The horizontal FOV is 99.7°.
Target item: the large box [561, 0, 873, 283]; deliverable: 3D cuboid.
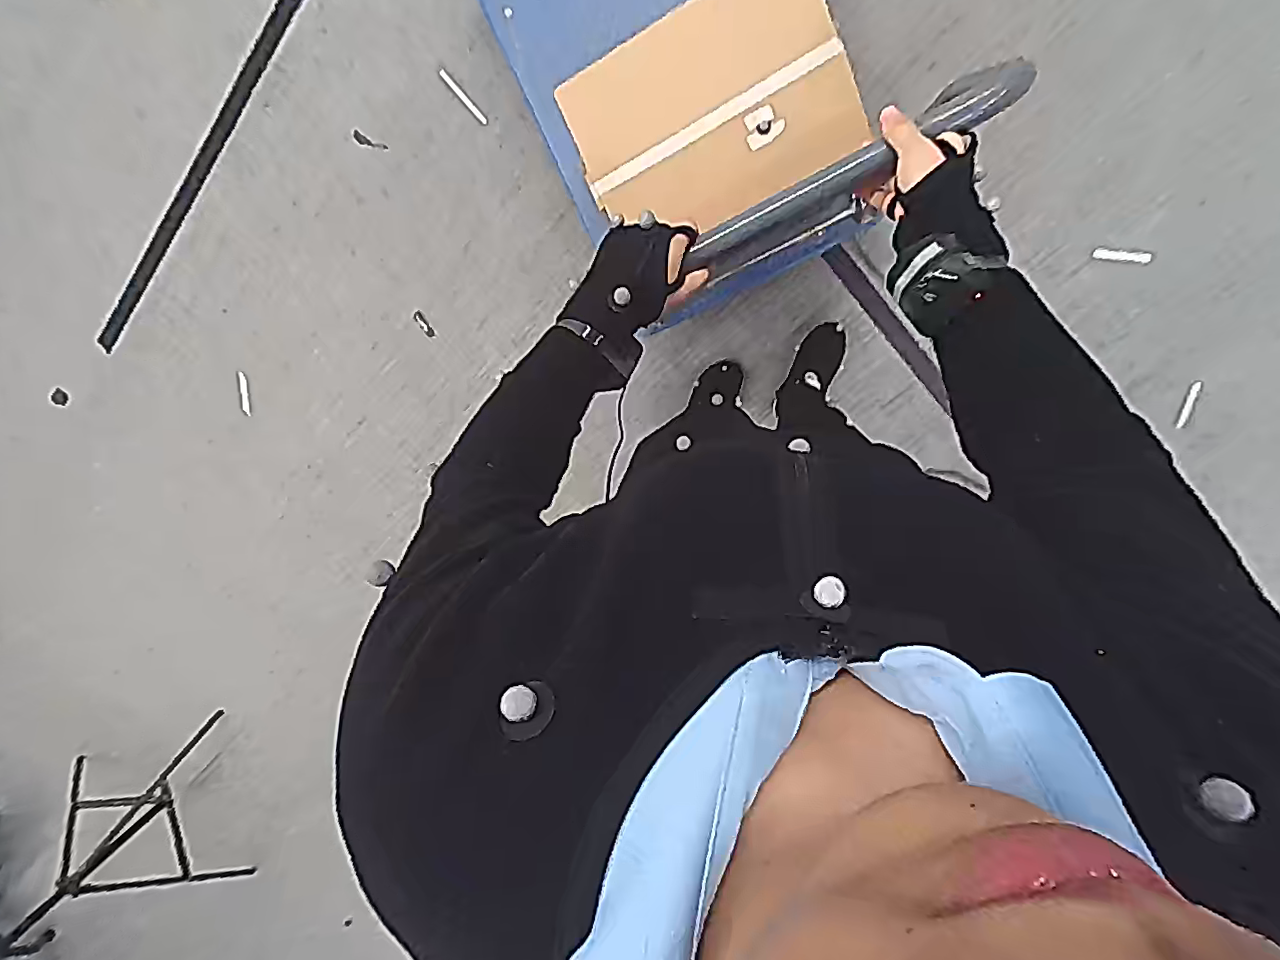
[{"bbox_3d":[0.133,-0.599,0.975,0.408,0.320,0.320,-23,104,15],"label":"large box"}]
